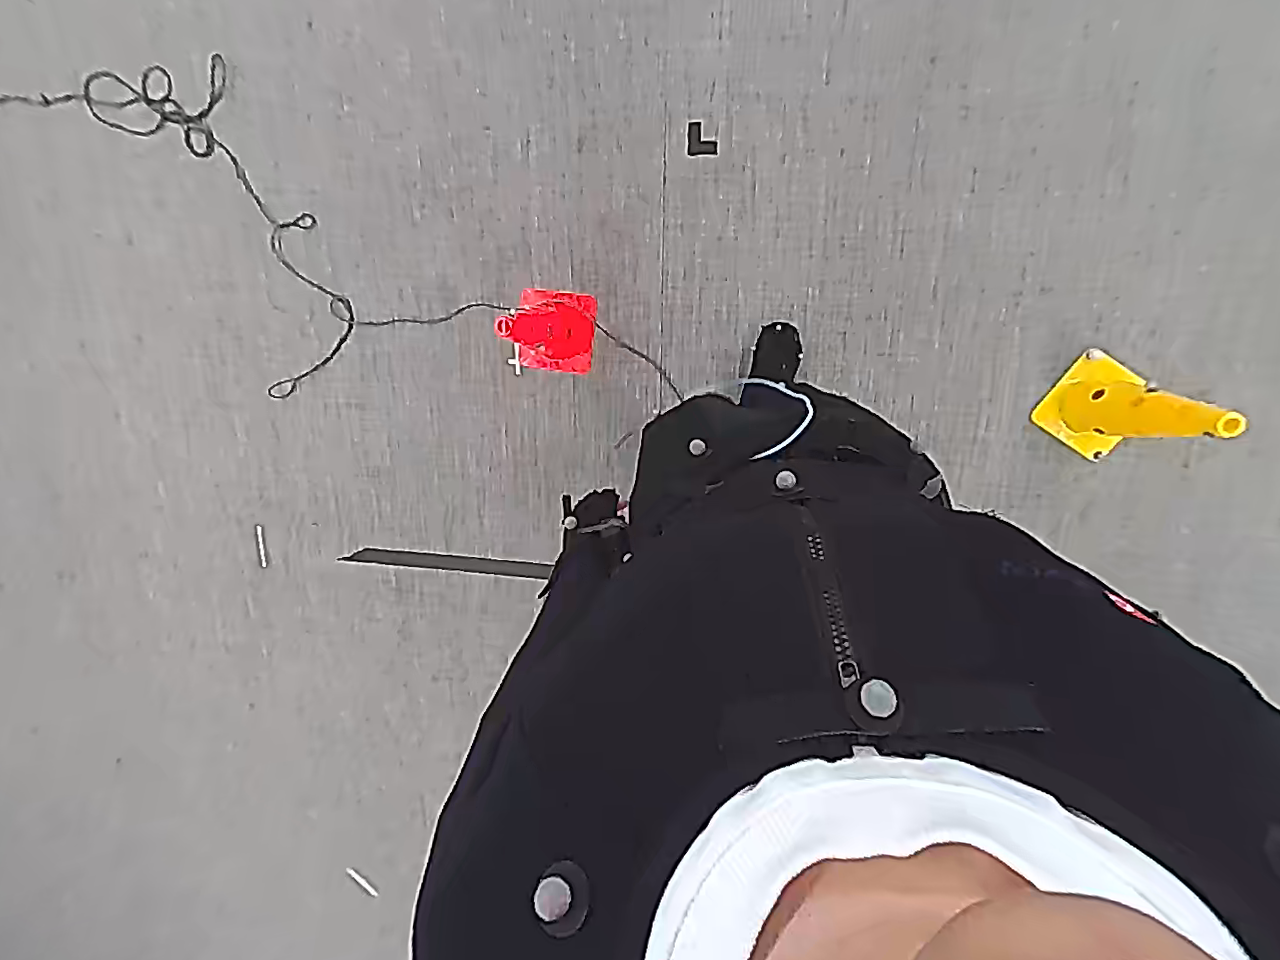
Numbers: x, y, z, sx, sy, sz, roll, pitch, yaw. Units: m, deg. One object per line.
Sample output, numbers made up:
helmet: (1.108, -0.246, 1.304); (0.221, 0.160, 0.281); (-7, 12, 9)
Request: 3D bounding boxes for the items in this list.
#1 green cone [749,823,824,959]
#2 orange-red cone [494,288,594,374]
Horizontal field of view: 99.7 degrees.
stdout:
green cone: (0.423, 1.184, 1.503); (0.202, 0.368, 0.200); (-12, 101, 13)
orange-red cone: (-0.245, -0.344, 1.239); (0.199, 0.360, 0.198); (10, 105, 5)
